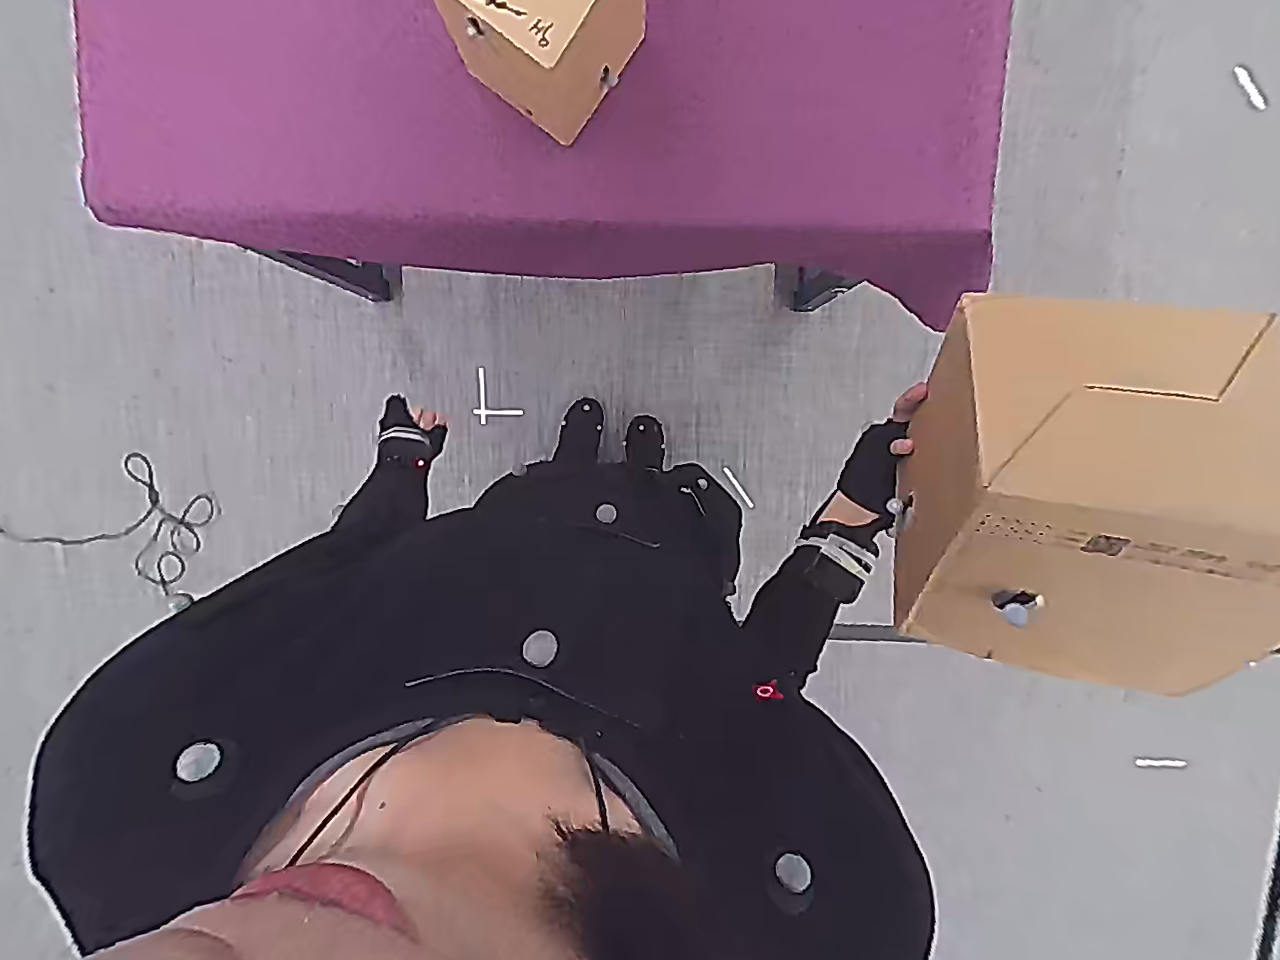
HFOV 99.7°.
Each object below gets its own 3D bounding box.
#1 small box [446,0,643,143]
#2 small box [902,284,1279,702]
[{"bbox_3d":[-0.107,-0.546,0.622,0.168,0.176,0.179,36,94,-4],"label":"small box"},{"bbox_3d":[0.270,0.003,0.330,0.168,0.176,0.179,11,53,15],"label":"small box"}]
